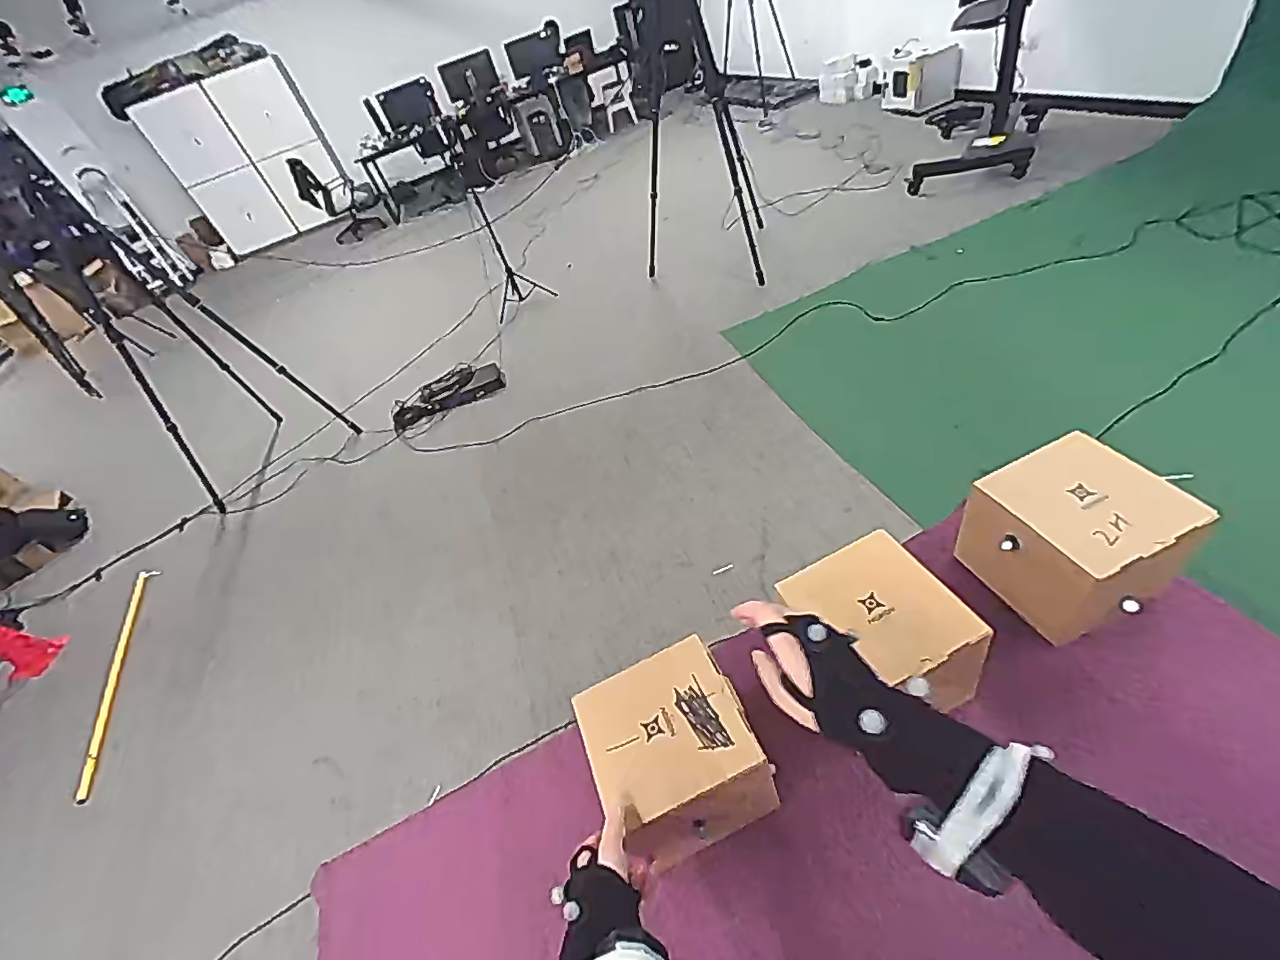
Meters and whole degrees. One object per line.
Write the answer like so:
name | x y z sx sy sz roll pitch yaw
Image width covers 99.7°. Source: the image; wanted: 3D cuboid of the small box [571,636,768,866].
small box | 0.041 0.329 0.657 0.179 0.176 0.168 -26 43 -4

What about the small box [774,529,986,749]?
small box | 0.291 0.202 0.689 0.168 0.176 0.179 -27 43 -6

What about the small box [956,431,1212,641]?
small box | 0.550 0.074 0.706 0.168 0.176 0.179 -26 45 -3
